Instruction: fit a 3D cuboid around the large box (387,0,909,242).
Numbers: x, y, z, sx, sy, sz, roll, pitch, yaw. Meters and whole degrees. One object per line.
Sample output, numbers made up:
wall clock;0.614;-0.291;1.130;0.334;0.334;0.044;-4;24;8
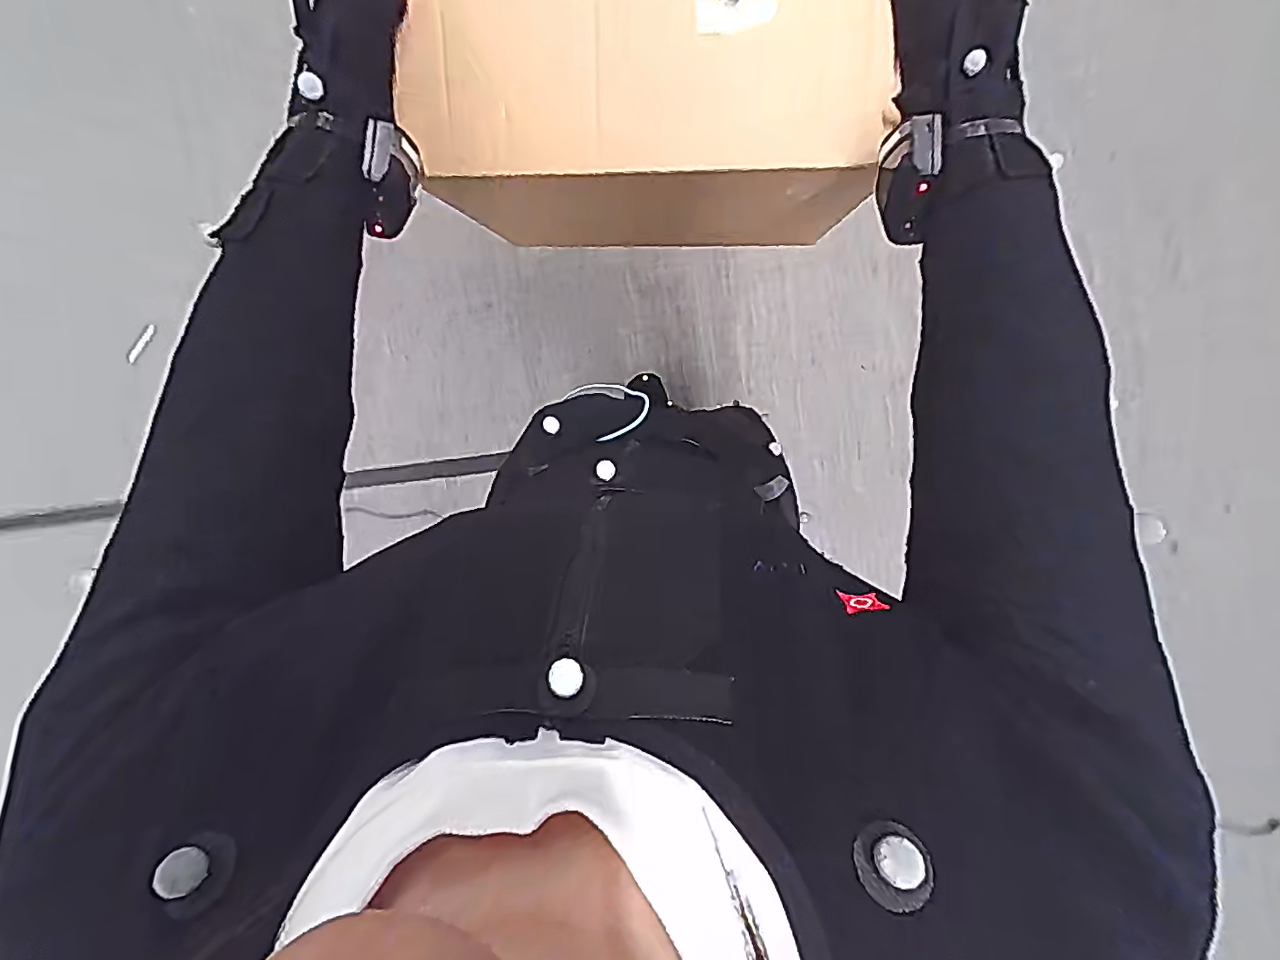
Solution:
large box;0.008;-0.440;0.544;0.408;0.320;0.320;0;104;4
